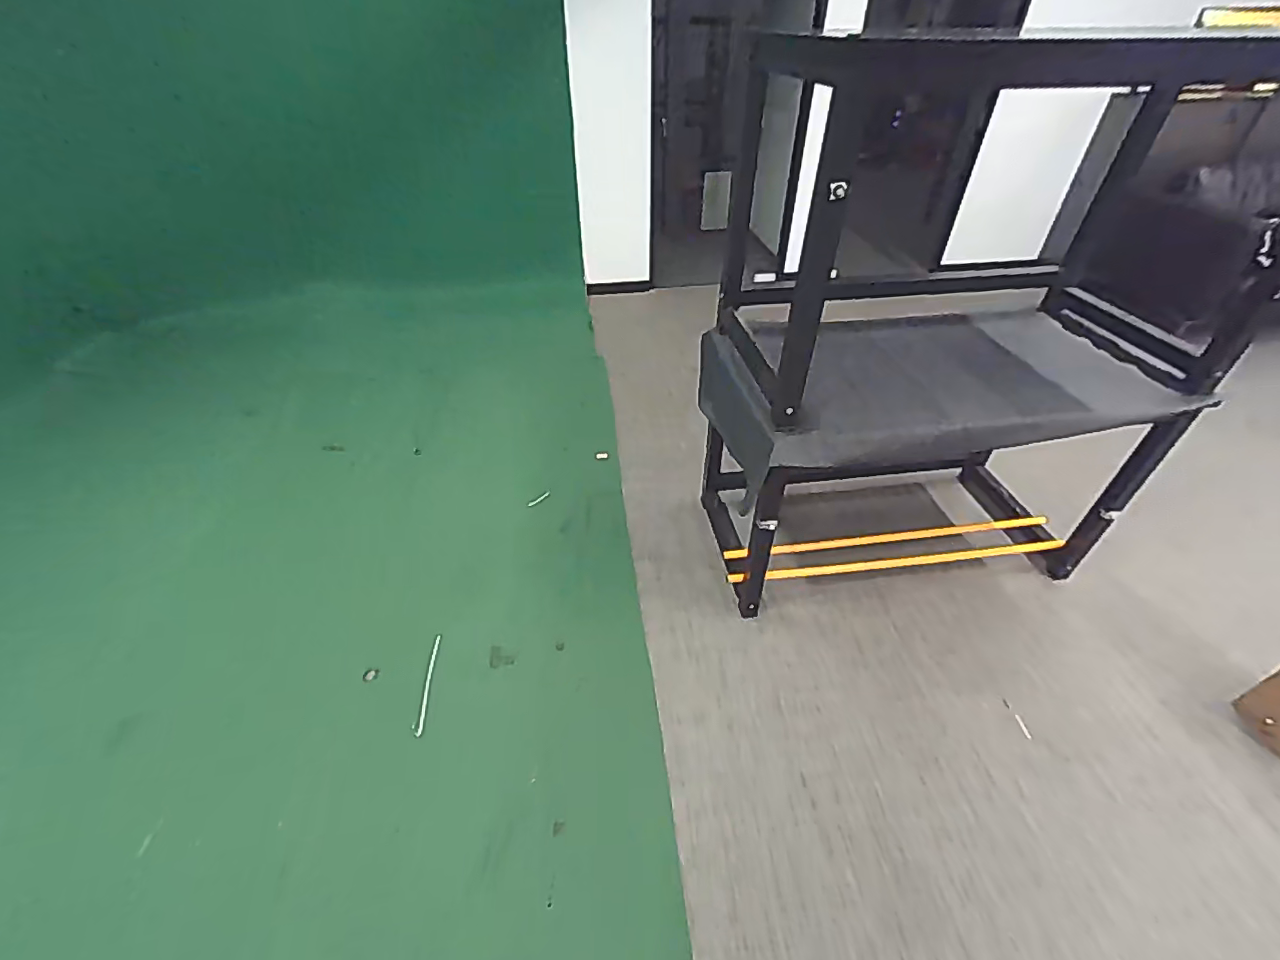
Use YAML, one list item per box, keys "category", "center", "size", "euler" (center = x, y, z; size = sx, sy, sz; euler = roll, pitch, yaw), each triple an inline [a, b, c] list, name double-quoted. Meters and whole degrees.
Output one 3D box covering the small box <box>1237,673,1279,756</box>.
- category: "small box"
  center: [1.771, 0.624, 1.423]
  size: [0.179, 0.176, 0.168]
  euler: [-2, 40, -1]
